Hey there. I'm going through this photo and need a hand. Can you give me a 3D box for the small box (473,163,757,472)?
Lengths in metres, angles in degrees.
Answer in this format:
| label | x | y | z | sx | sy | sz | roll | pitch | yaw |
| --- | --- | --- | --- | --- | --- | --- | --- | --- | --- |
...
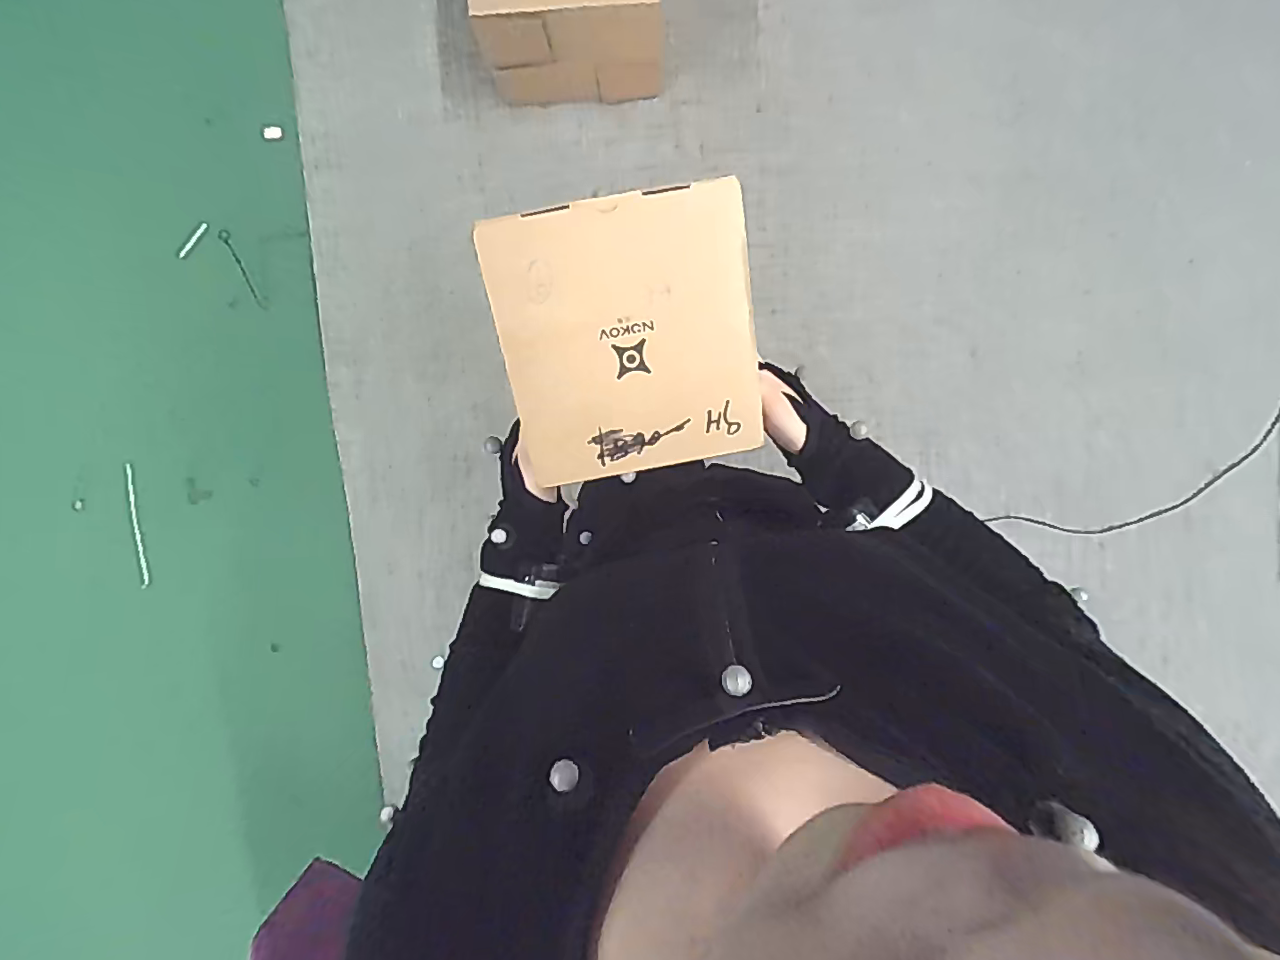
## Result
| label | x | y | z | sx | sy | sz | roll | pitch | yaw |
| --- | --- | --- | --- | --- | --- | --- | --- | --- | --- |
| small box | -0.015 | -0.123 | 0.426 | 0.168 | 0.176 | 0.179 | -9 | 109 | 0 |
